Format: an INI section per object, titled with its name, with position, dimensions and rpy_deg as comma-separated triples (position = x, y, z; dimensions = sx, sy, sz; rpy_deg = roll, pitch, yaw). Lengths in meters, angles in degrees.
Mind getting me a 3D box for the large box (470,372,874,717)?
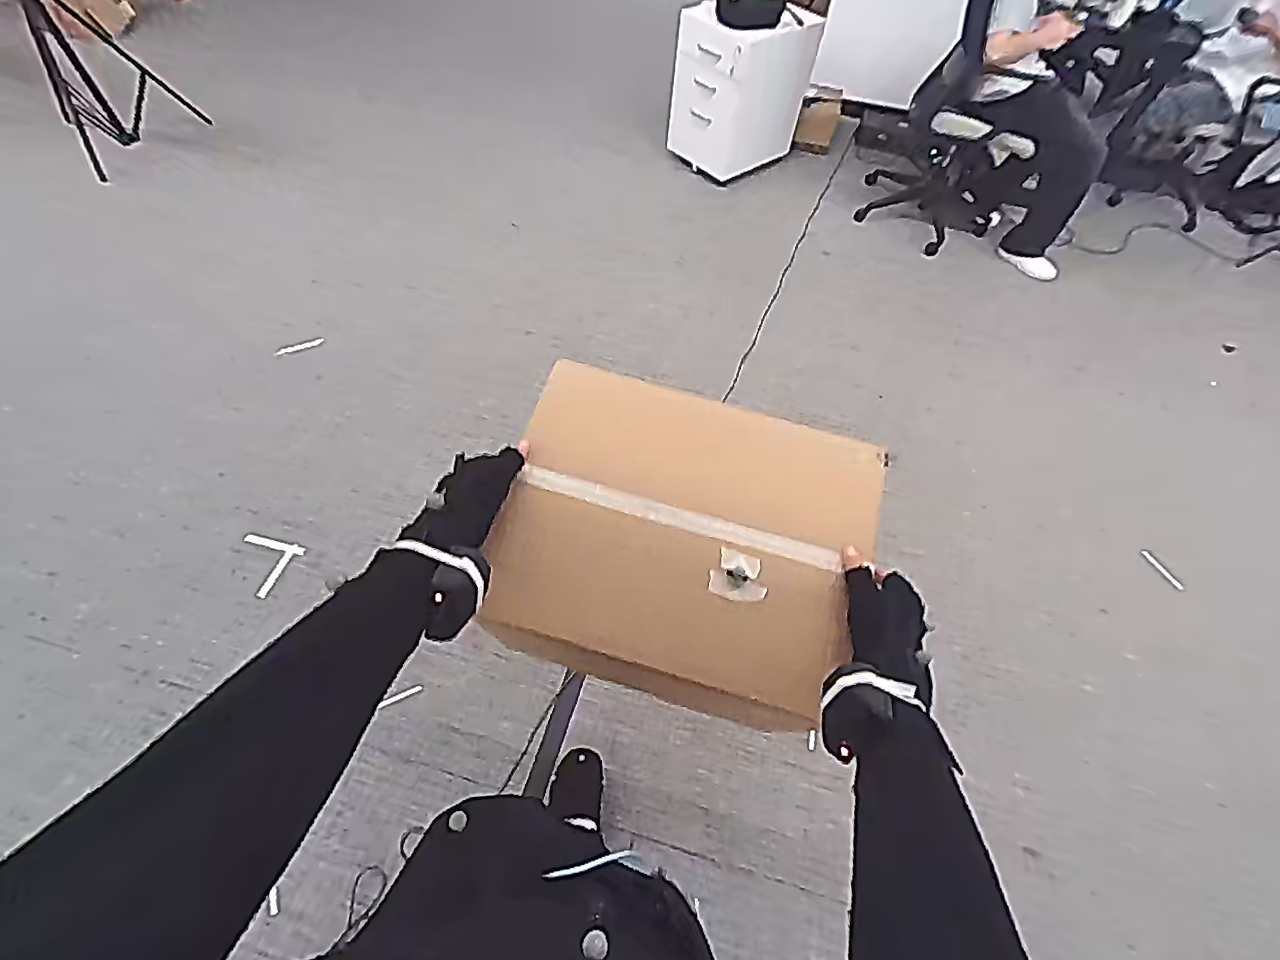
[large box]
position = 0.042, 0.107, 0.737
dimensions = 0.408, 0.320, 0.320
rpy_deg = 16, 67, 4
